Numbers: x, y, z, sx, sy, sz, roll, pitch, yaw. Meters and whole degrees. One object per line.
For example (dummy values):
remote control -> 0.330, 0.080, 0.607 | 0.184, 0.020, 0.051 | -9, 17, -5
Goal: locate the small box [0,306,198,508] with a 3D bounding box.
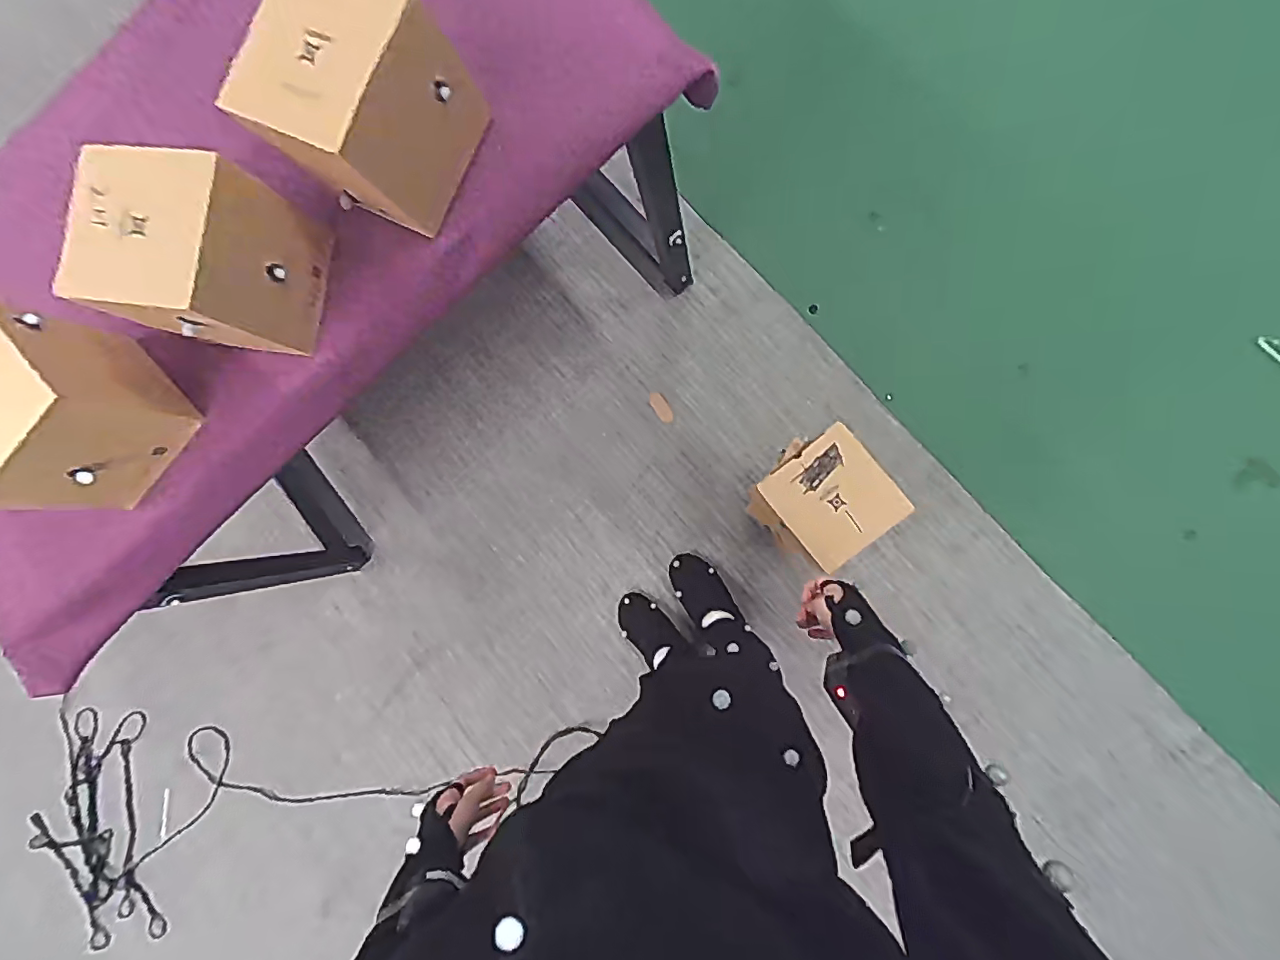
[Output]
small box -> -0.705, -0.083, 0.660 | 0.179, 0.176, 0.168 | 43, 94, 10

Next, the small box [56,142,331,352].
small box -> -0.503, -0.258, 0.635 | 0.179, 0.176, 0.168 | 9, 88, 10

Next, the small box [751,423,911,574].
small box -> 0.302, 0.033, 0.900 | 0.168, 0.176, 0.179 | -38, 84, 5

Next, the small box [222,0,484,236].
small box -> -0.304, -0.419, 0.613 | 0.168, 0.176, 0.179 | 27, 92, 12

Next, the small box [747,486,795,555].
small box -> 0.357, 0.054, 1.224 | 0.179, 0.176, 0.168 | -30, 84, 7
